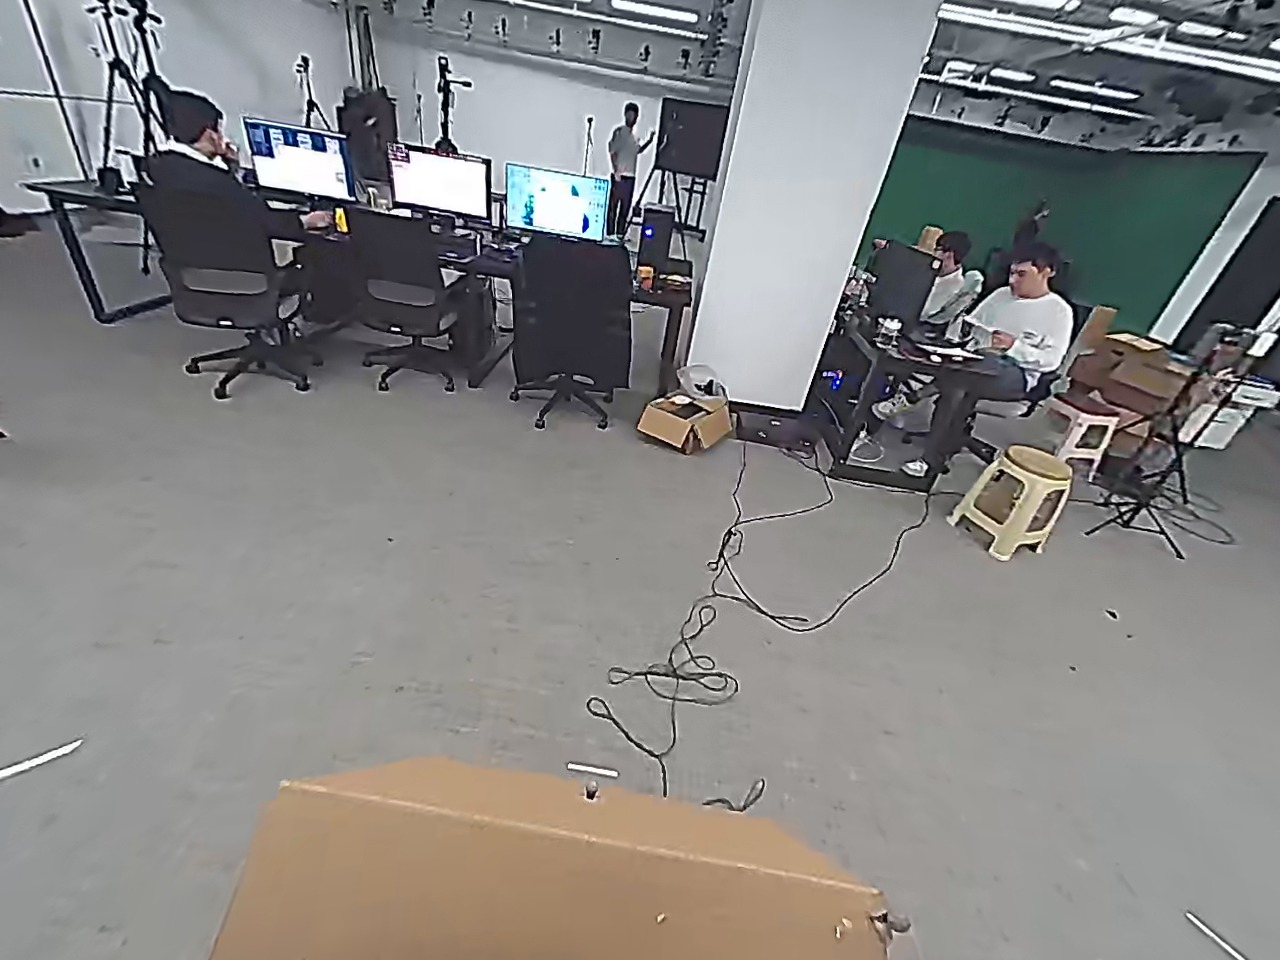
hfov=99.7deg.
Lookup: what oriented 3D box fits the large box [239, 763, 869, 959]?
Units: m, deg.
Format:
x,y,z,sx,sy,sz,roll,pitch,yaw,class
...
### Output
x,y,z,sx,sy,sz,roll,pitch,yaw,class
-0.070,0.437,0.445,0.408,0.320,0.320,9,67,2,large box
